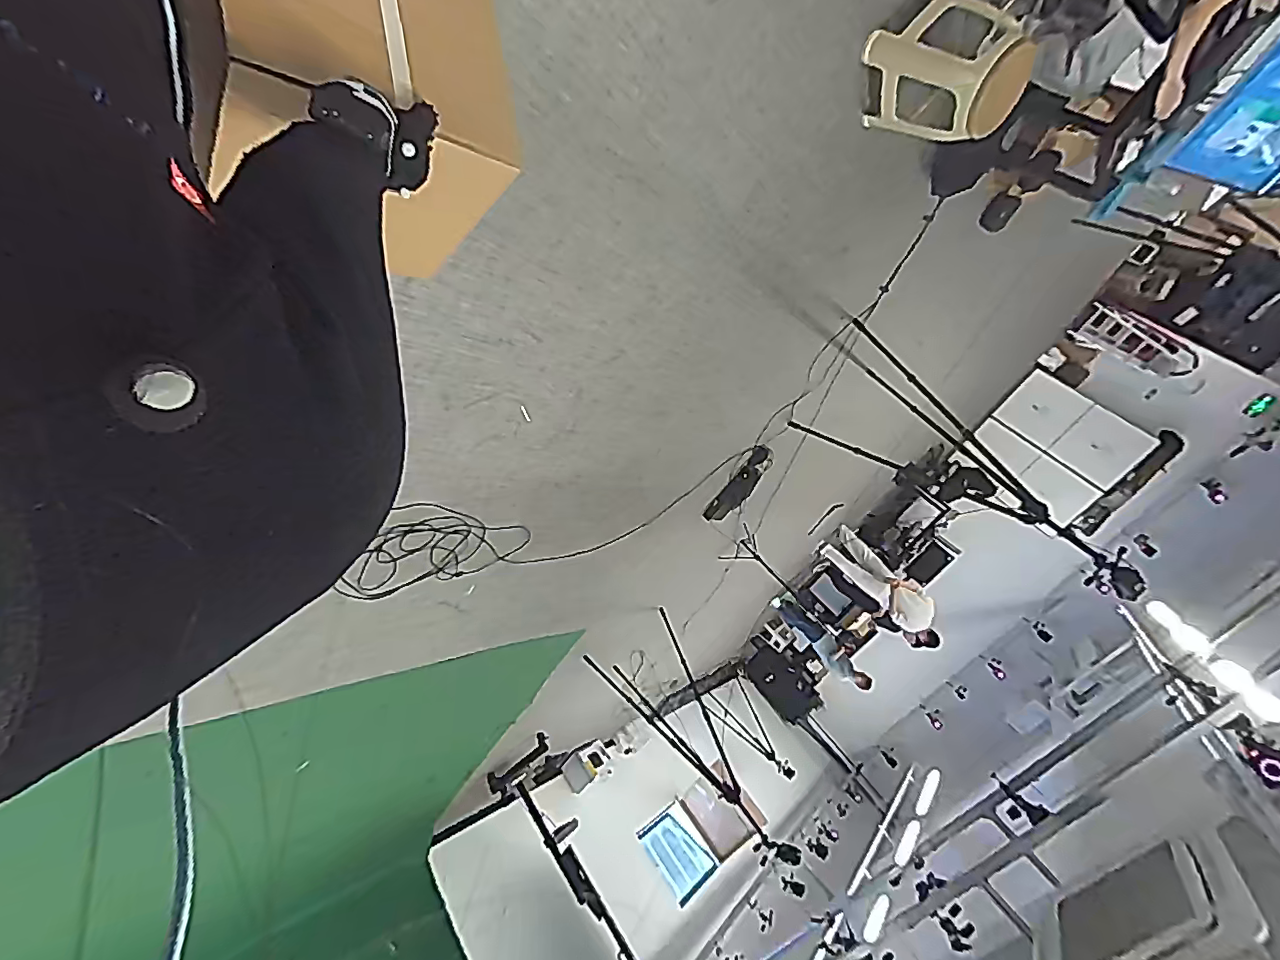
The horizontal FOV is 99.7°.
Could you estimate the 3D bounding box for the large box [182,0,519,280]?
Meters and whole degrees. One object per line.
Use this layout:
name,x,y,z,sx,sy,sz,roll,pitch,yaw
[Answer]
large box,-0.408,-0.549,0.744,0.320,0.408,0.320,-5,171,-44
